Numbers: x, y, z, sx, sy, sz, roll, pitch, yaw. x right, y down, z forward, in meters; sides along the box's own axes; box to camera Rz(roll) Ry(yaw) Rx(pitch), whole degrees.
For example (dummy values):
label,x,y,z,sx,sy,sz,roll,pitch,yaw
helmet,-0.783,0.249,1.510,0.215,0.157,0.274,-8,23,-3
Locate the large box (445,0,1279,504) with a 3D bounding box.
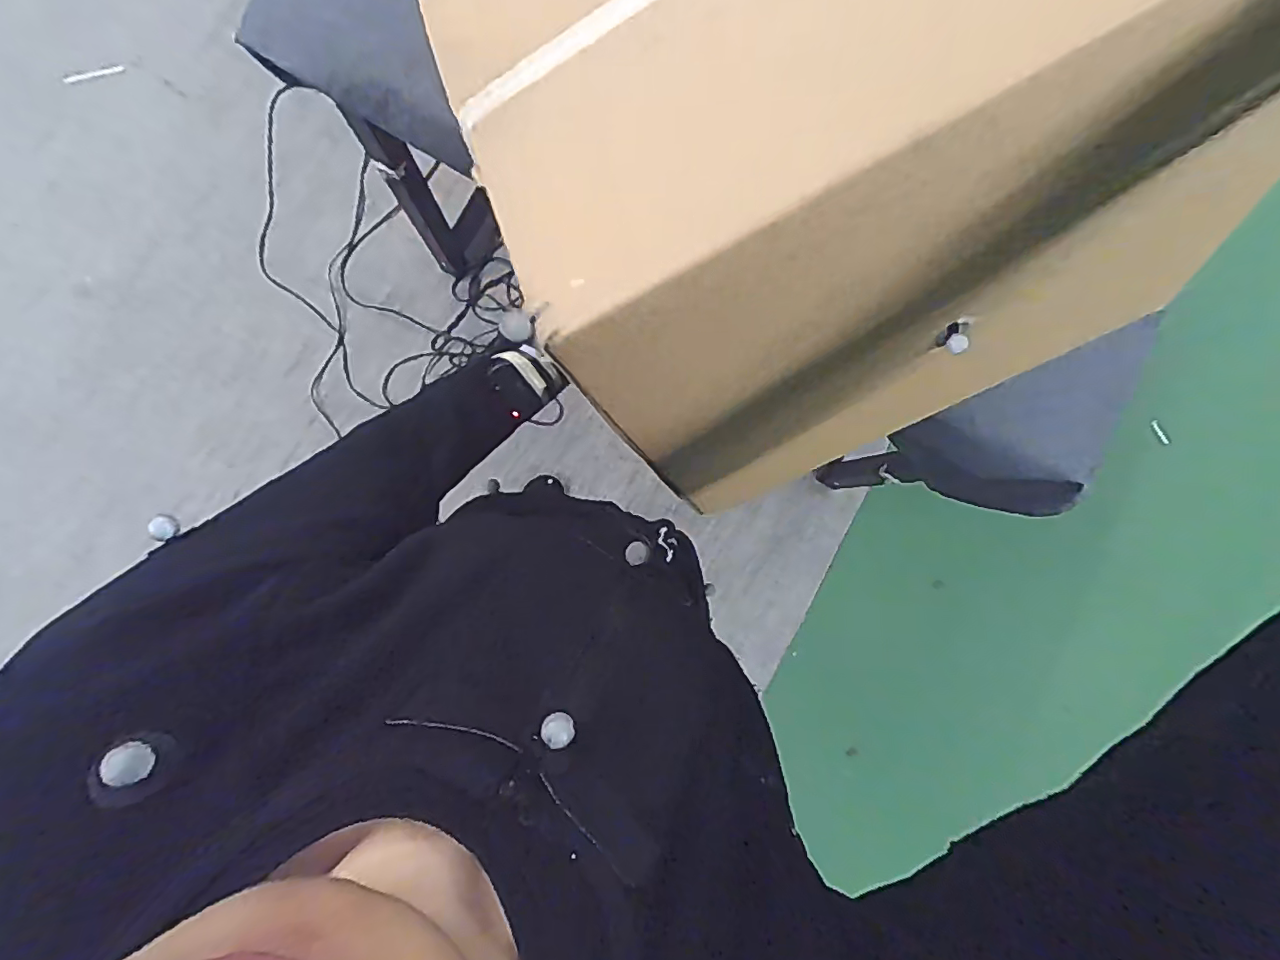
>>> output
label,x,y,z,sx,sy,sz,roll,pitch,yaw
large box,0.144,-0.232,0.402,0.408,0.320,0.320,-28,65,11
